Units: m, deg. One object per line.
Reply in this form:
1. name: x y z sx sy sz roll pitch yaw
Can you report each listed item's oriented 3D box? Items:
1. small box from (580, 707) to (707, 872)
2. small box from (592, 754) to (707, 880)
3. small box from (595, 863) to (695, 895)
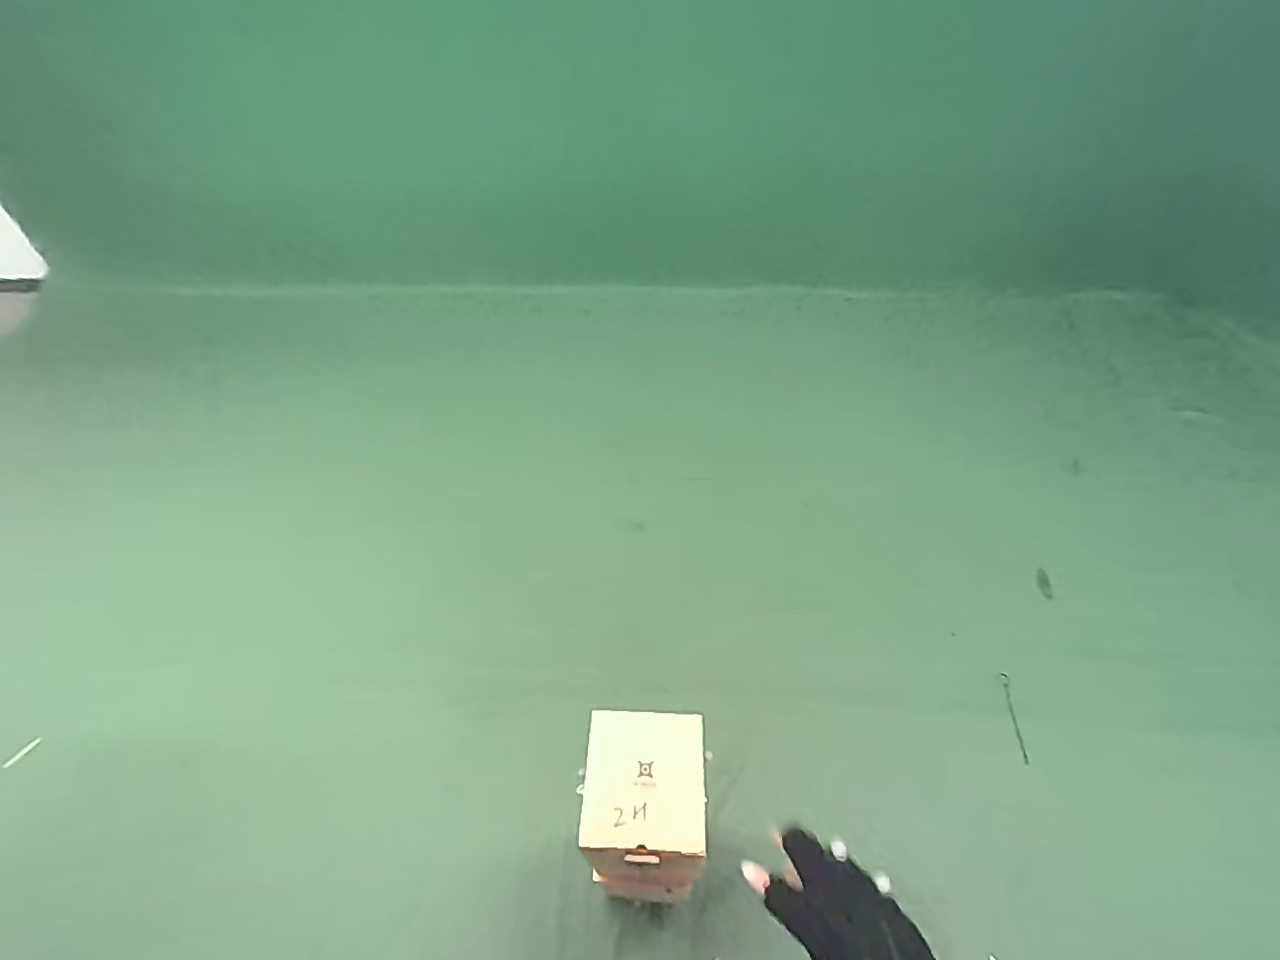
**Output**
1. small box: 0.009 0.459 0.803 0.168 0.176 0.179 2 48 3
2. small box: 0.019 0.566 0.924 0.179 0.176 0.168 3 46 4
3. small box: 0.016 0.686 1.041 0.179 0.176 0.168 2 48 3
